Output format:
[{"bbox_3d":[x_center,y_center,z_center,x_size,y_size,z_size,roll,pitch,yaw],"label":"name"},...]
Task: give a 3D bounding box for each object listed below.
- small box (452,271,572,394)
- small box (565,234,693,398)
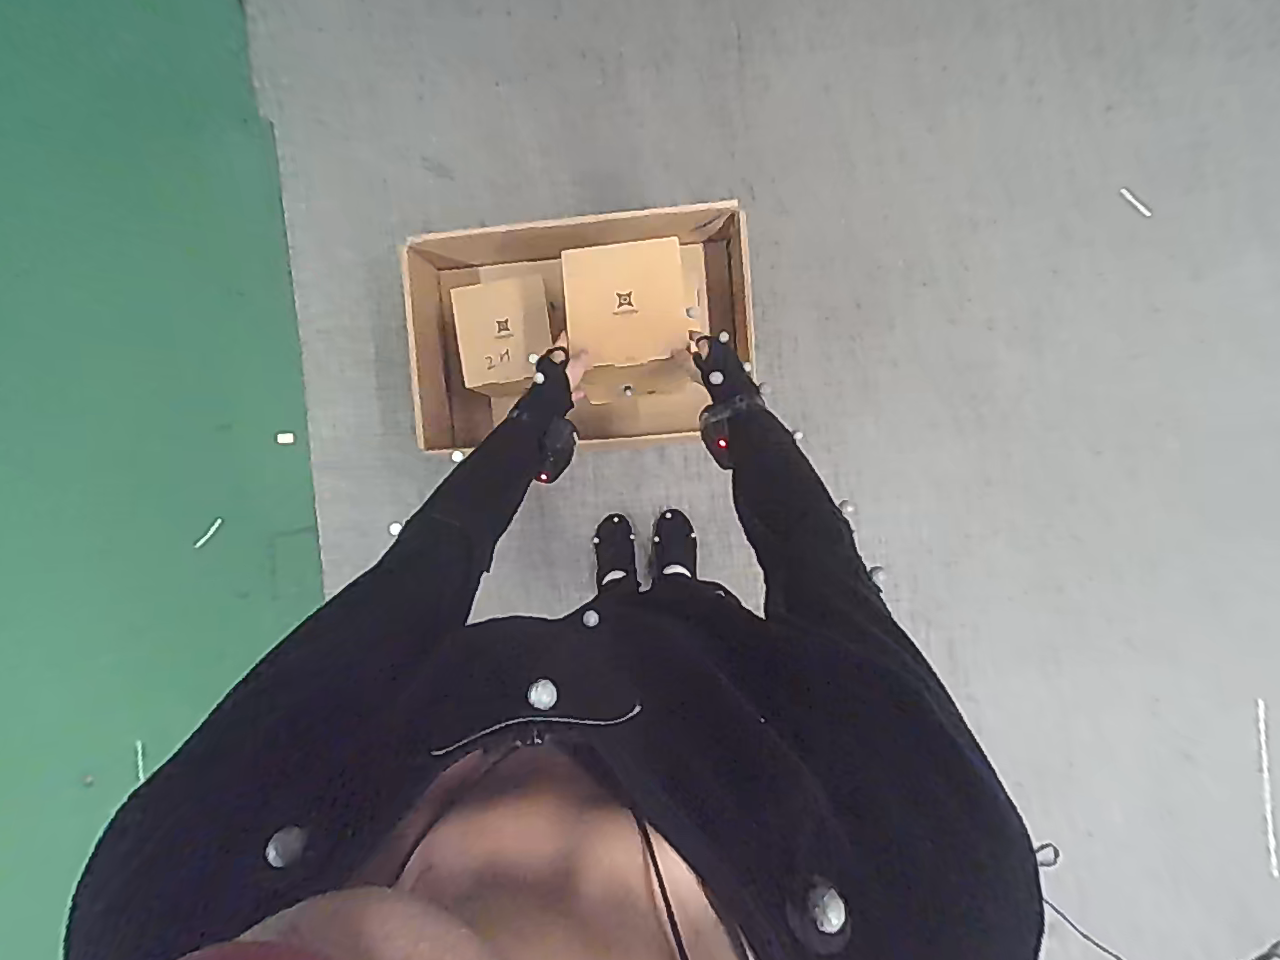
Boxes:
[{"bbox_3d":[-0.229,-0.265,1.005,0.168,0.176,0.179,-7,92,4],"label":"small box"},{"bbox_3d":[-0.013,-0.233,0.805,0.168,0.176,0.179,-5,84,3],"label":"small box"}]
